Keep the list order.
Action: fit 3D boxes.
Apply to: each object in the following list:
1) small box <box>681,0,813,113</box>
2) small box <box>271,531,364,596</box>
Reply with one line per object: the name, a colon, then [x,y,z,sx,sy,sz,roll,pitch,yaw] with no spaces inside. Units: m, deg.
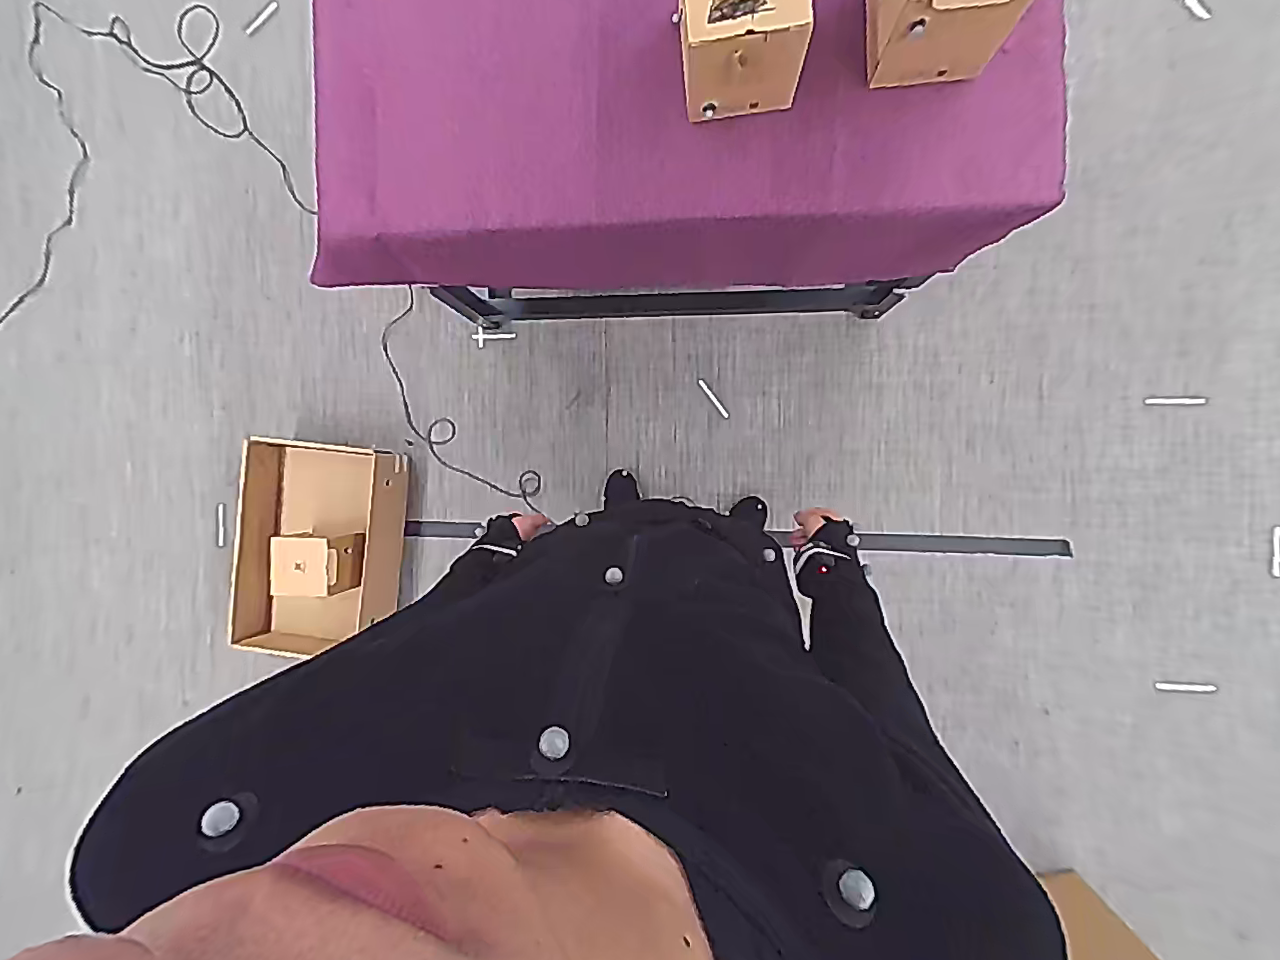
small box: [0.148,-0.672,0.790,0.168,0.176,0.179,-5,90,5]
small box: [-0.938,0.239,1.586,0.179,0.176,0.168,1,90,5]
